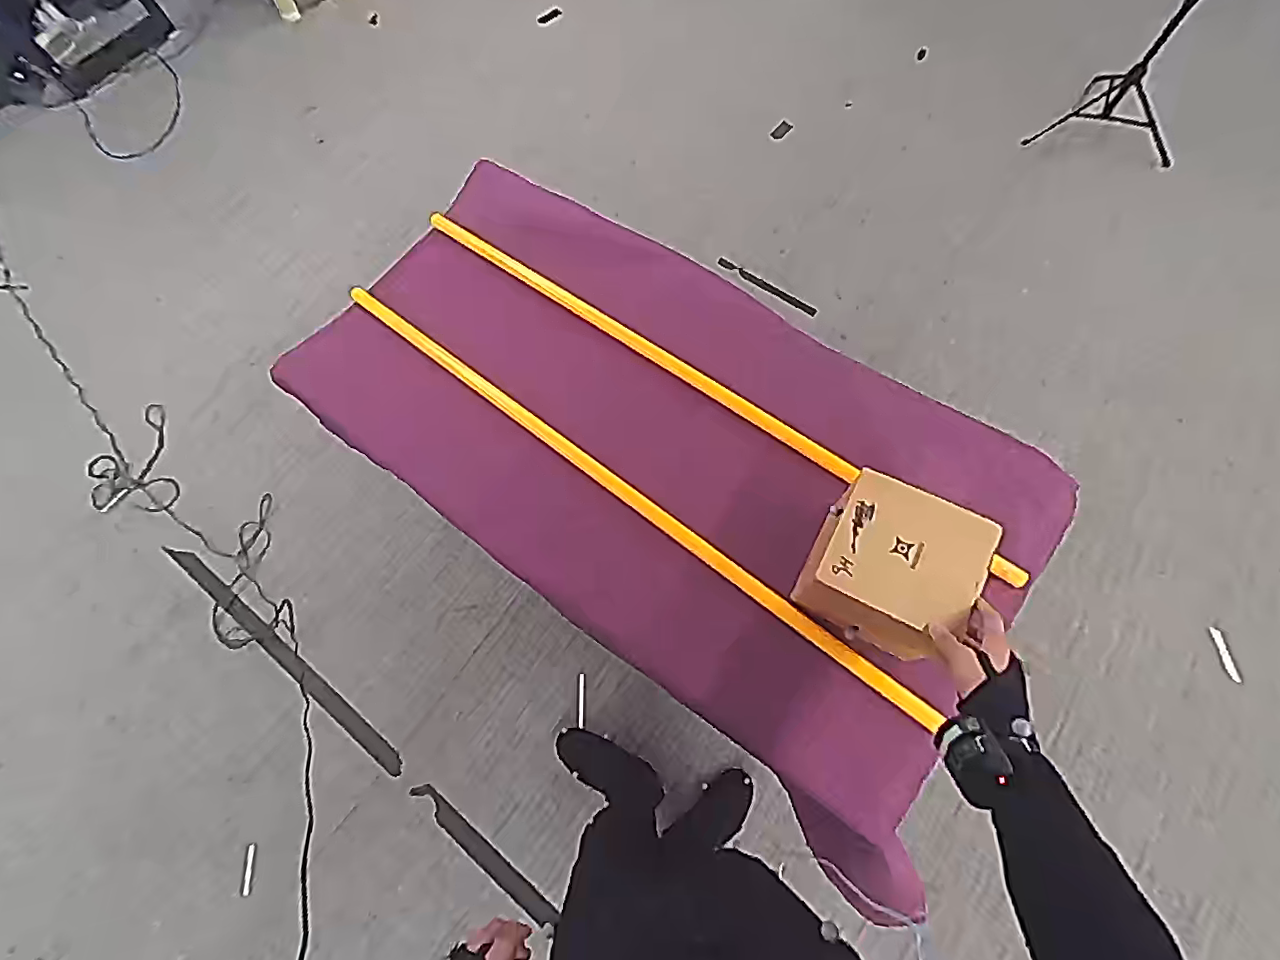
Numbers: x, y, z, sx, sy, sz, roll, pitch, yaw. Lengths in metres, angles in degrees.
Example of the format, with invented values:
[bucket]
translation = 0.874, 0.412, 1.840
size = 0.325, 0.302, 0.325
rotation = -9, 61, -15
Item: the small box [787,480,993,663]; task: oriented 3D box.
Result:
[small box]
translation = 0.322, 0.129, 0.729
size = 0.179, 0.176, 0.168
rotation = 27, 73, 14
